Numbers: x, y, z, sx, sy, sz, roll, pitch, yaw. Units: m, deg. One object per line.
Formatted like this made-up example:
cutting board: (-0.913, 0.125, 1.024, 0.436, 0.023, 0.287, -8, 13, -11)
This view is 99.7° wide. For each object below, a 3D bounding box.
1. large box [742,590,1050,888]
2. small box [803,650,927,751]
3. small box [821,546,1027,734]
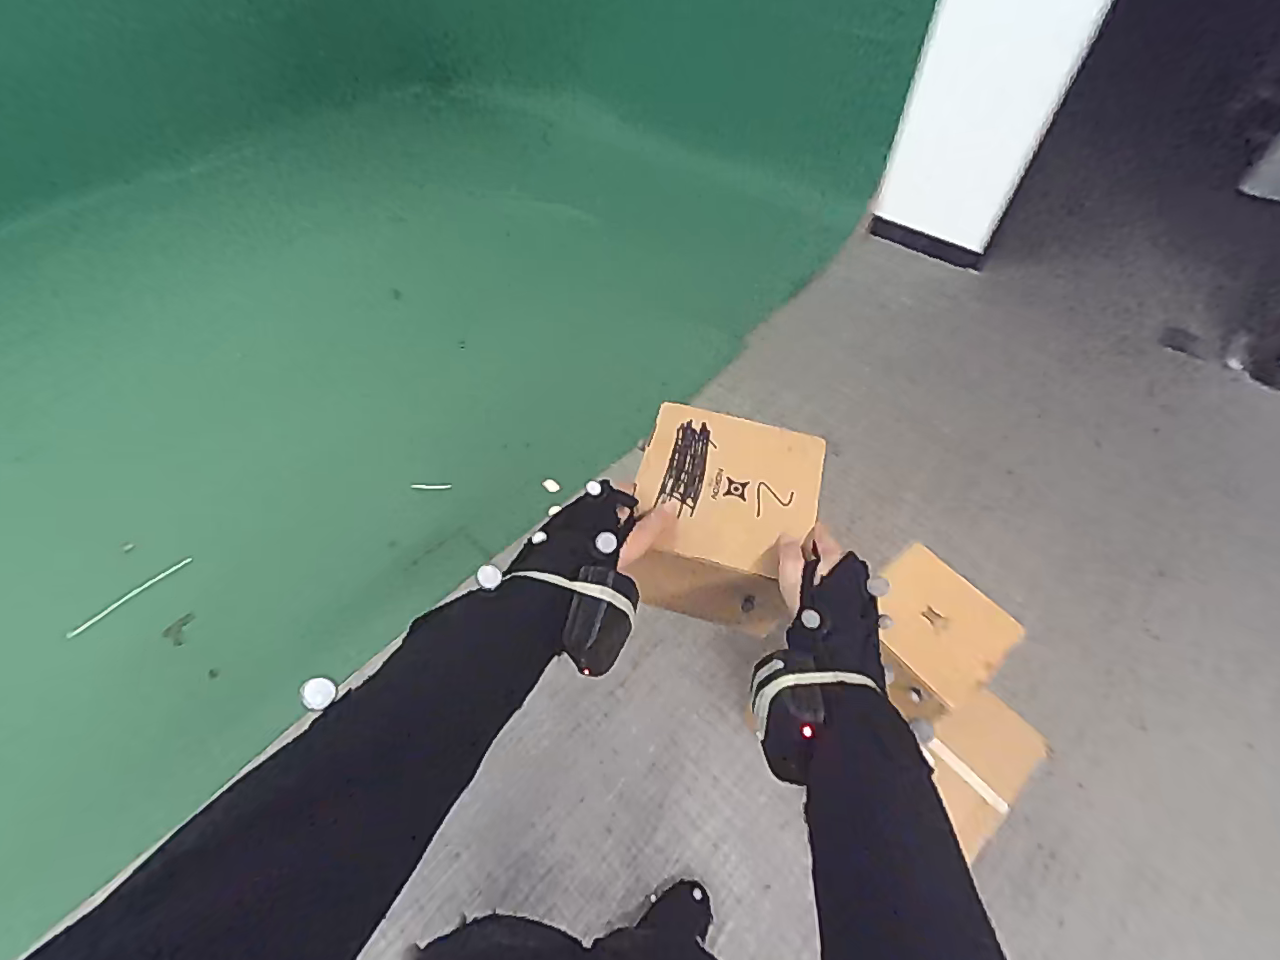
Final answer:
large box: (0.469, 0.508, 1.087, 0.320, 0.320, 0.408, -35, 62, -20)
small box: (0.408, 0.331, 0.918, 0.168, 0.176, 0.179, -34, 59, -22)
small box: (0.395, 0.236, 0.787, 0.168, 0.176, 0.179, -32, 60, -21)
